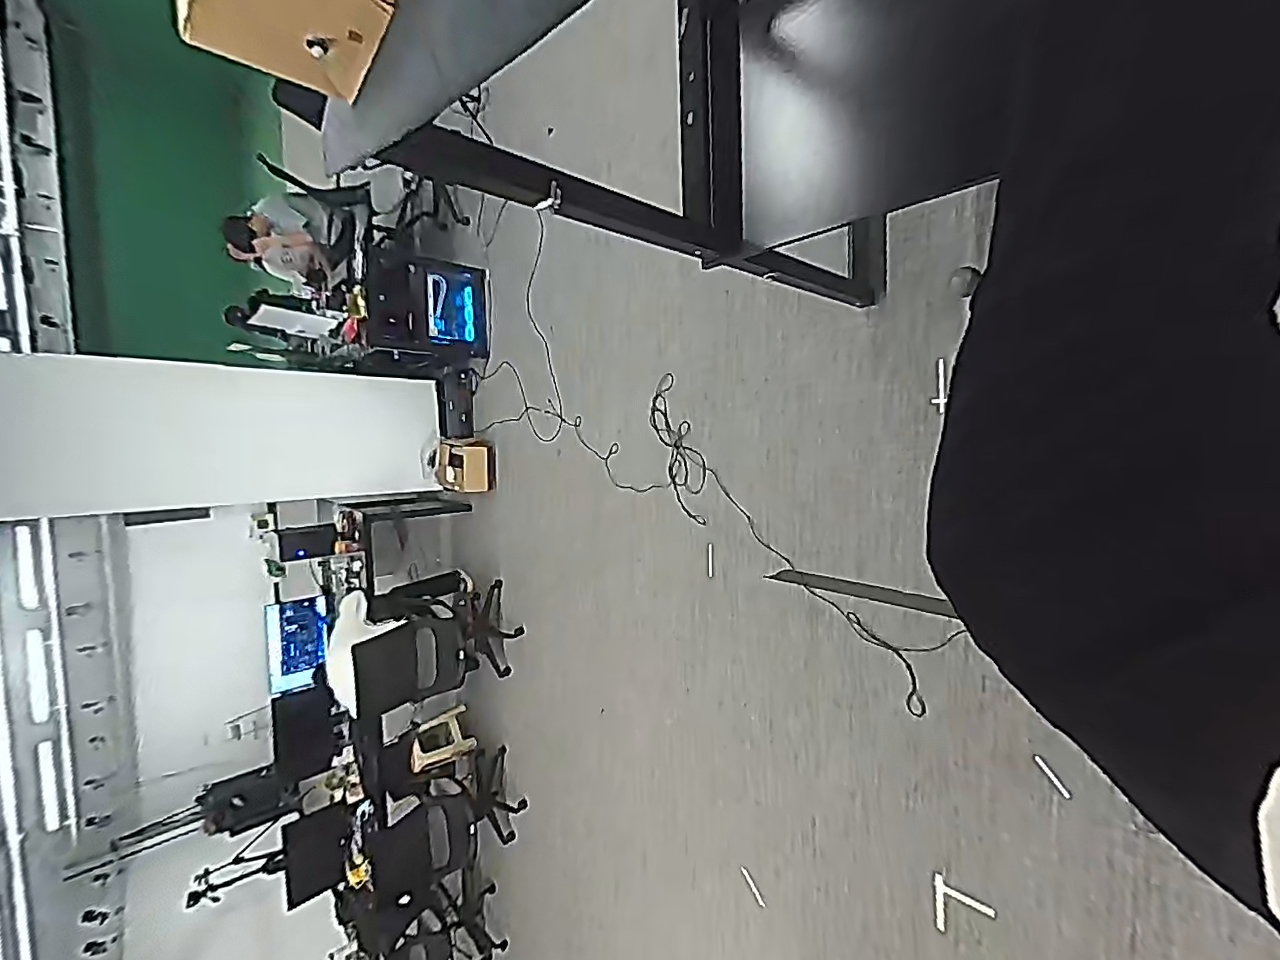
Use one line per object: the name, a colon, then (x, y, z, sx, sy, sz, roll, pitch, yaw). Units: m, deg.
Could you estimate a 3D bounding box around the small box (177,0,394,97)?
small box: (-0.380, -0.564, 0.574, 0.168, 0.176, 0.179, -10, 87, 47)
